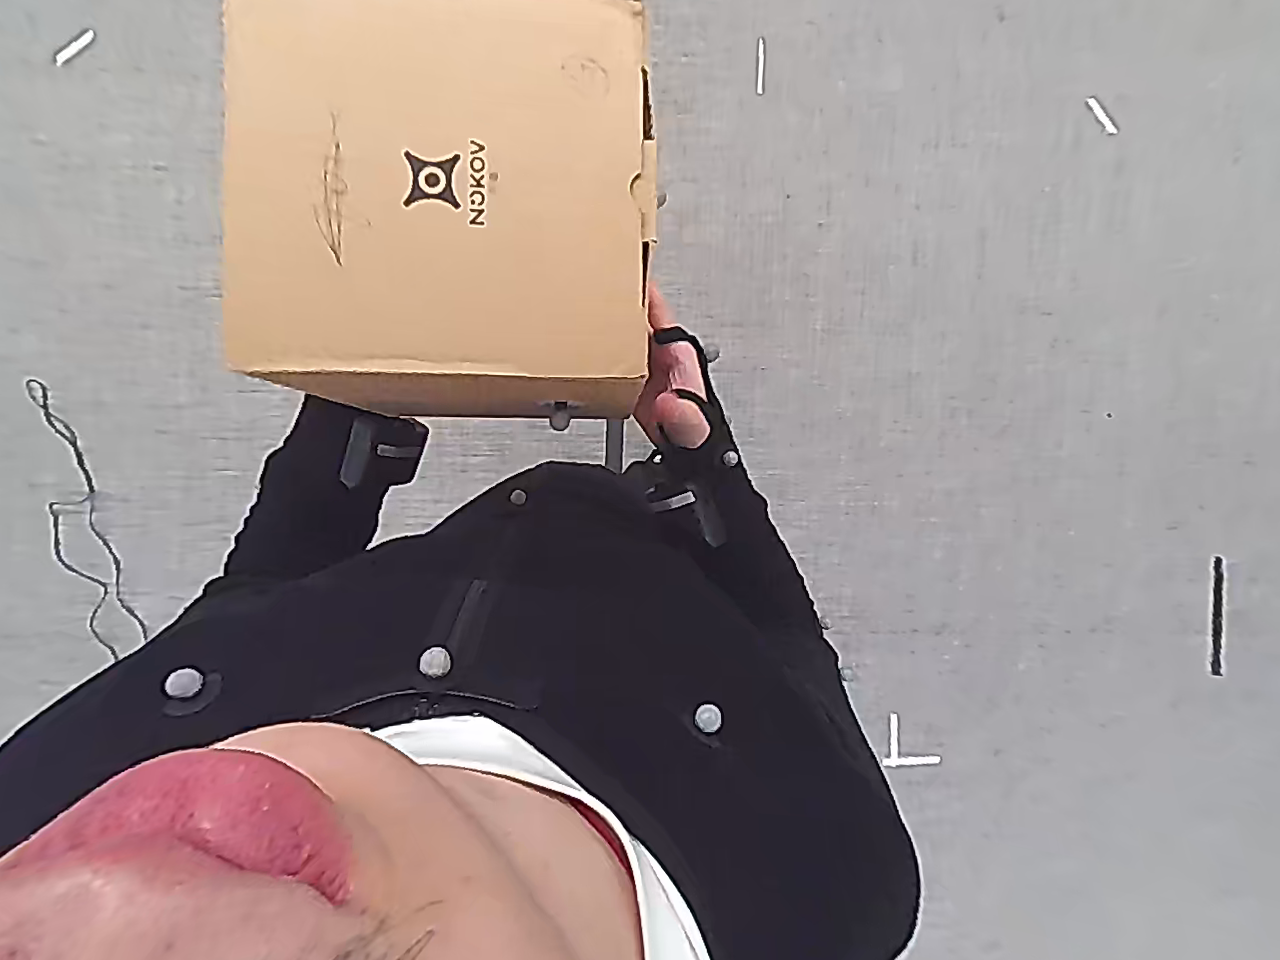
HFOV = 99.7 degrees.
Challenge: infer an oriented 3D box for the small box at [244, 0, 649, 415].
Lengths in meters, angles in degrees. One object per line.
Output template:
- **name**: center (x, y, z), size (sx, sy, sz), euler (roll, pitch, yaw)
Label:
- **small box**: center (-0.090, -0.131, 0.321), size (0.179, 0.176, 0.168), euler (-1, 90, -3)
